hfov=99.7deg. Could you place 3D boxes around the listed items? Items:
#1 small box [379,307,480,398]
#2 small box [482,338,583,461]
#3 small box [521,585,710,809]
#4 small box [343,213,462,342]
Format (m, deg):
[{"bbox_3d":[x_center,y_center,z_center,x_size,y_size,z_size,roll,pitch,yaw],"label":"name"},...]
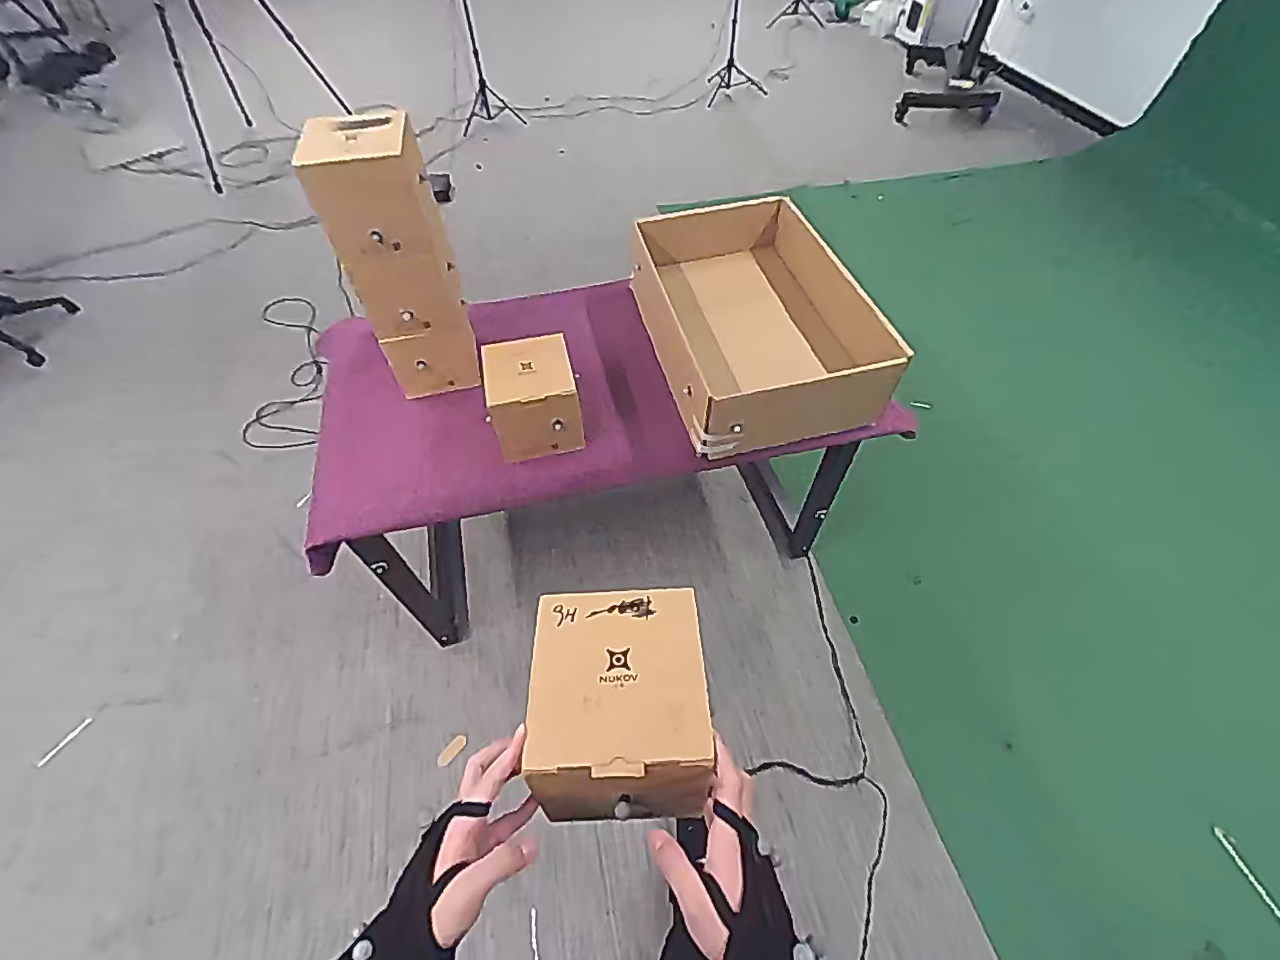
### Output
[{"bbox_3d":[-0.464,-0.300,1.206,0.168,0.176,0.179,-13,54,-8],"label":"small box"},{"bbox_3d":[-0.213,-0.155,1.092,0.168,0.176,0.179,-11,52,-8],"label":"small box"},{"bbox_3d":[-0.020,0.233,0.570,0.168,0.176,0.179,-2,45,0],"label":"small box"},{"bbox_3d":[-0.460,-0.402,1.076,0.168,0.176,0.179,-9,54,-6],"label":"small box"}]
